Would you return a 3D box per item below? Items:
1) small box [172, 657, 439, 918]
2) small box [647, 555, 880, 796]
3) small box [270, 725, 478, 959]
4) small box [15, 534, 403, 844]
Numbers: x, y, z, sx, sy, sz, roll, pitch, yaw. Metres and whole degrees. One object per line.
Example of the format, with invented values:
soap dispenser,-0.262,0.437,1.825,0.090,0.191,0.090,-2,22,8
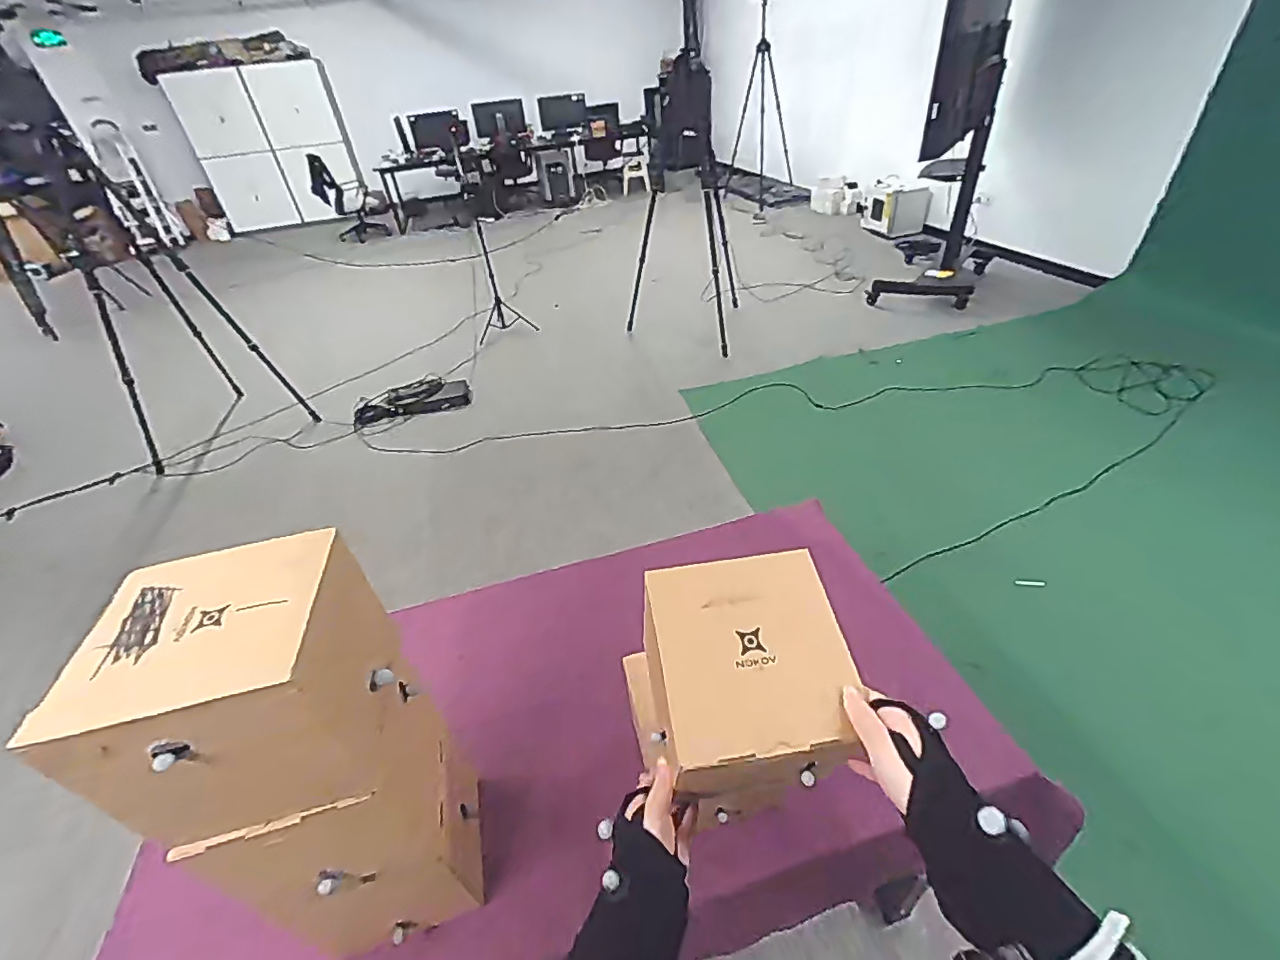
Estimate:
small box,-0.320,0.309,0.567,0.168,0.176,0.179,-14,39,-9
small box,0.100,0.198,0.533,0.168,0.176,0.179,-7,52,-6
small box,-0.305,0.442,0.665,0.179,0.176,0.168,-14,38,-11
small box,-0.331,0.178,0.468,0.179,0.176,0.168,-12,38,-8
